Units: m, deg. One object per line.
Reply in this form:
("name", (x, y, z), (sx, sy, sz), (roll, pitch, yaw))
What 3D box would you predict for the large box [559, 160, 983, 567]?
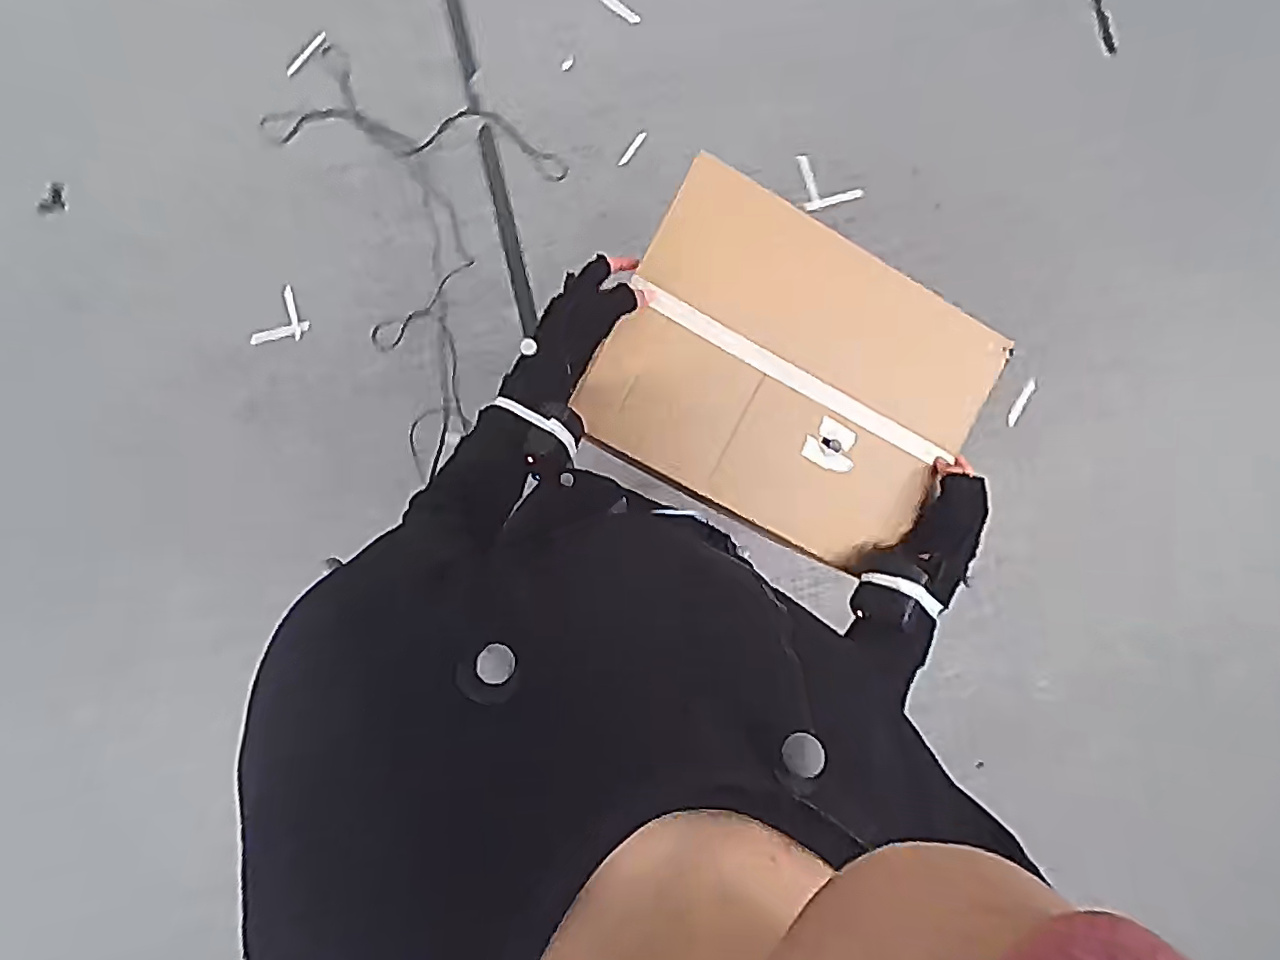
("large box", (0.134, -0.128, 0.740), (0.408, 0.320, 0.320), (27, 91, -8))
